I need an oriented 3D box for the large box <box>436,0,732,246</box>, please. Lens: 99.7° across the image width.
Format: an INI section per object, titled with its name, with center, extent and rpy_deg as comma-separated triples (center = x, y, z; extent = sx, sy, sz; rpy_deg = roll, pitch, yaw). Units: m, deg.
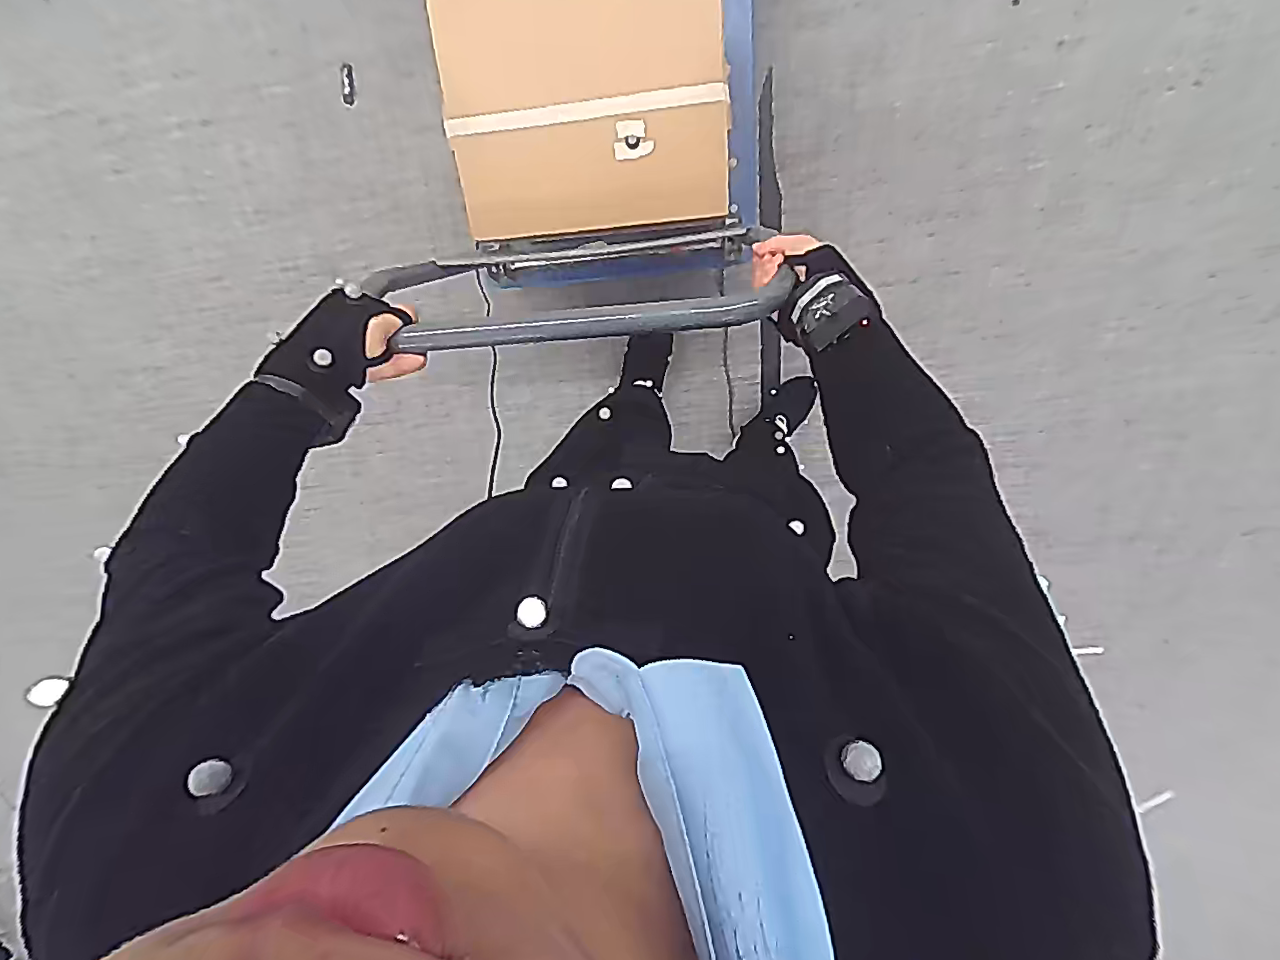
[large box]
center = -0.065, -0.591, 0.922
extent = 0.408, 0.320, 0.320
rpy_deg = -4, 114, 5
